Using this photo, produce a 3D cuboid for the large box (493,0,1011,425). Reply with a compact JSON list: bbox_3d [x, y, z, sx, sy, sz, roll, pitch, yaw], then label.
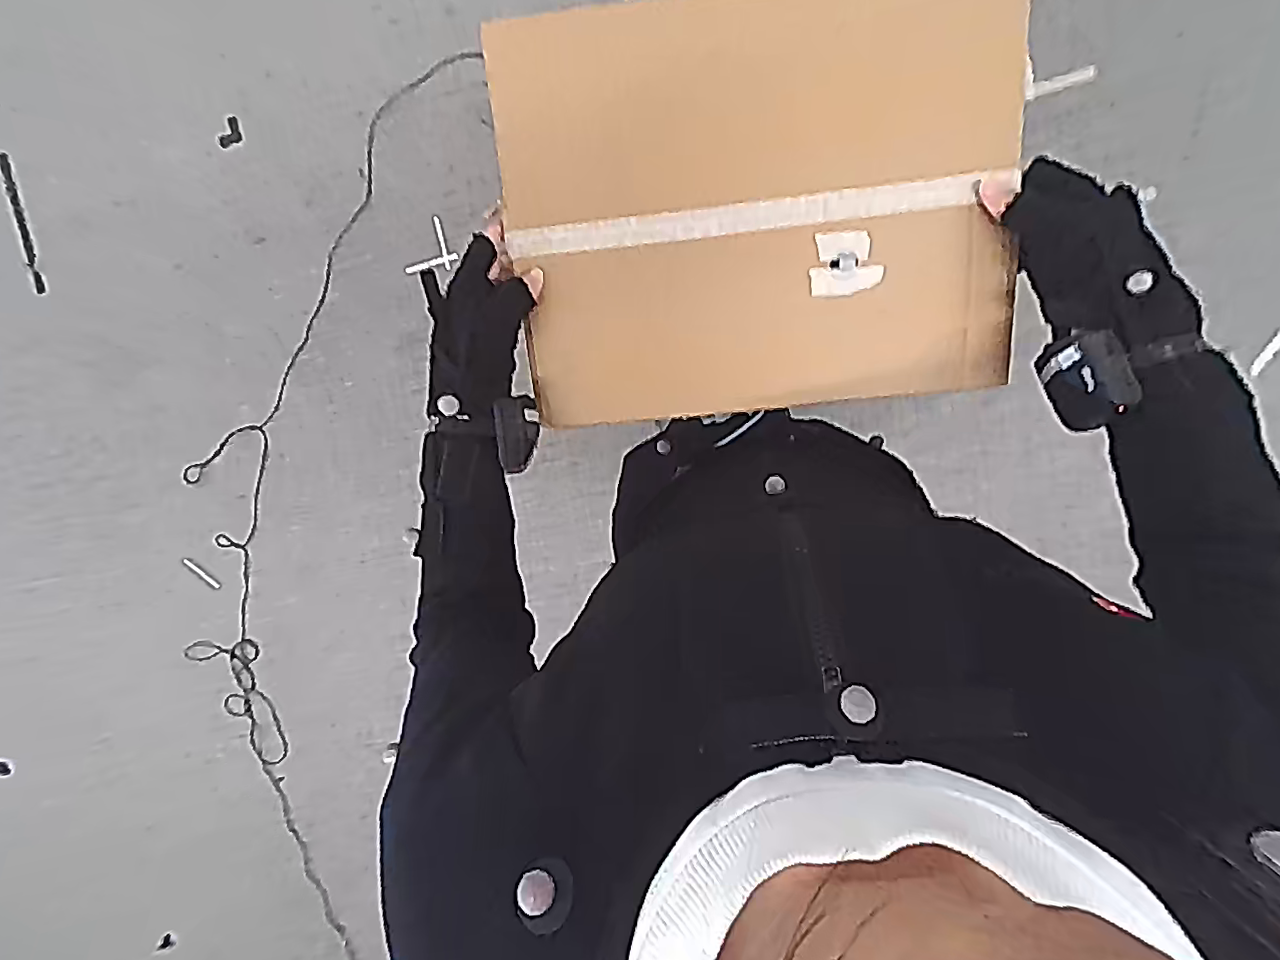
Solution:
[{"bbox_3d":[0.100,-0.254,0.591,0.408,0.320,0.320,-6,105,3],"label":"large box"}]
